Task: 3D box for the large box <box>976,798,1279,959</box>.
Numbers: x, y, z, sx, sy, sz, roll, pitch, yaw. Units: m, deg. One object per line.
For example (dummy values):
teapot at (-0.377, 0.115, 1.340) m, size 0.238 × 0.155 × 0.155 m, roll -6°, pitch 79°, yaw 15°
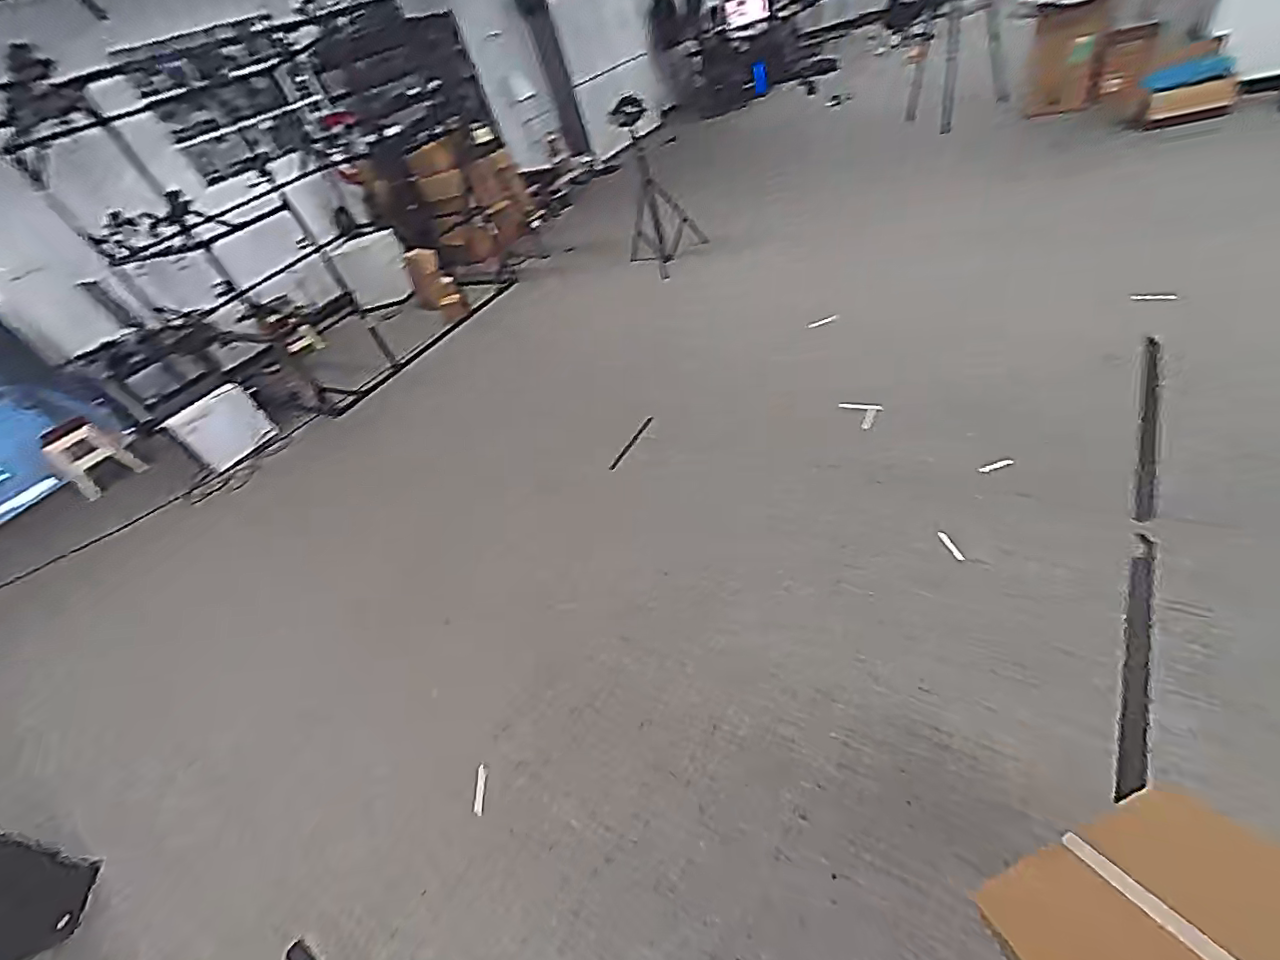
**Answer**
large box at (0.651, 0.621, 0.527) m, size 0.320 × 0.320 × 0.408 m, roll -31°, pitch -3°, yaw 1°
